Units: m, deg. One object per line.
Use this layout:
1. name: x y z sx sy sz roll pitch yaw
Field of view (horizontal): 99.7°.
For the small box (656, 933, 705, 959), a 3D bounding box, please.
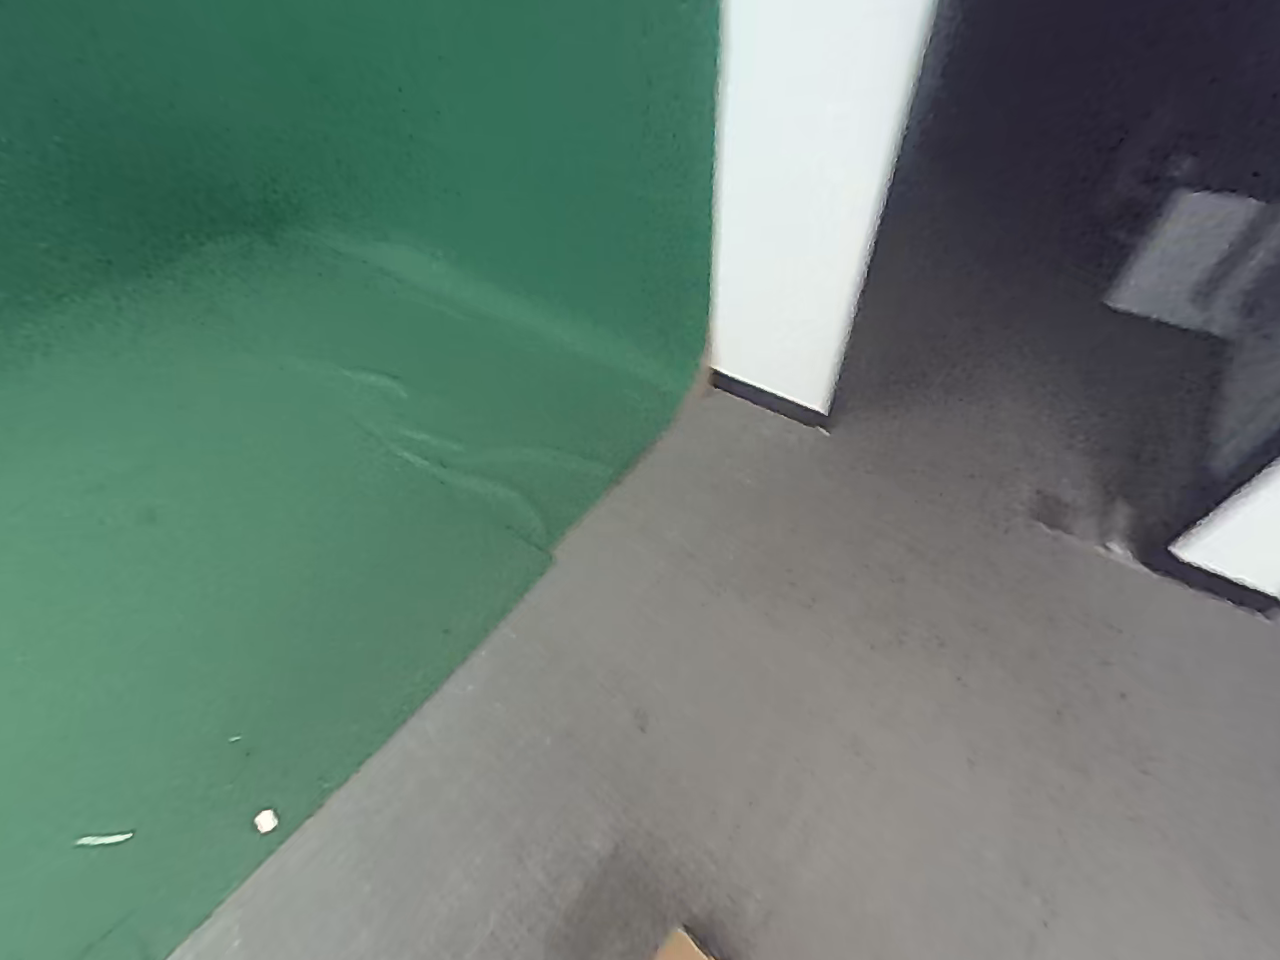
1. small box: 0.073 0.934 0.933 0.168 0.176 0.179 31 59 26
